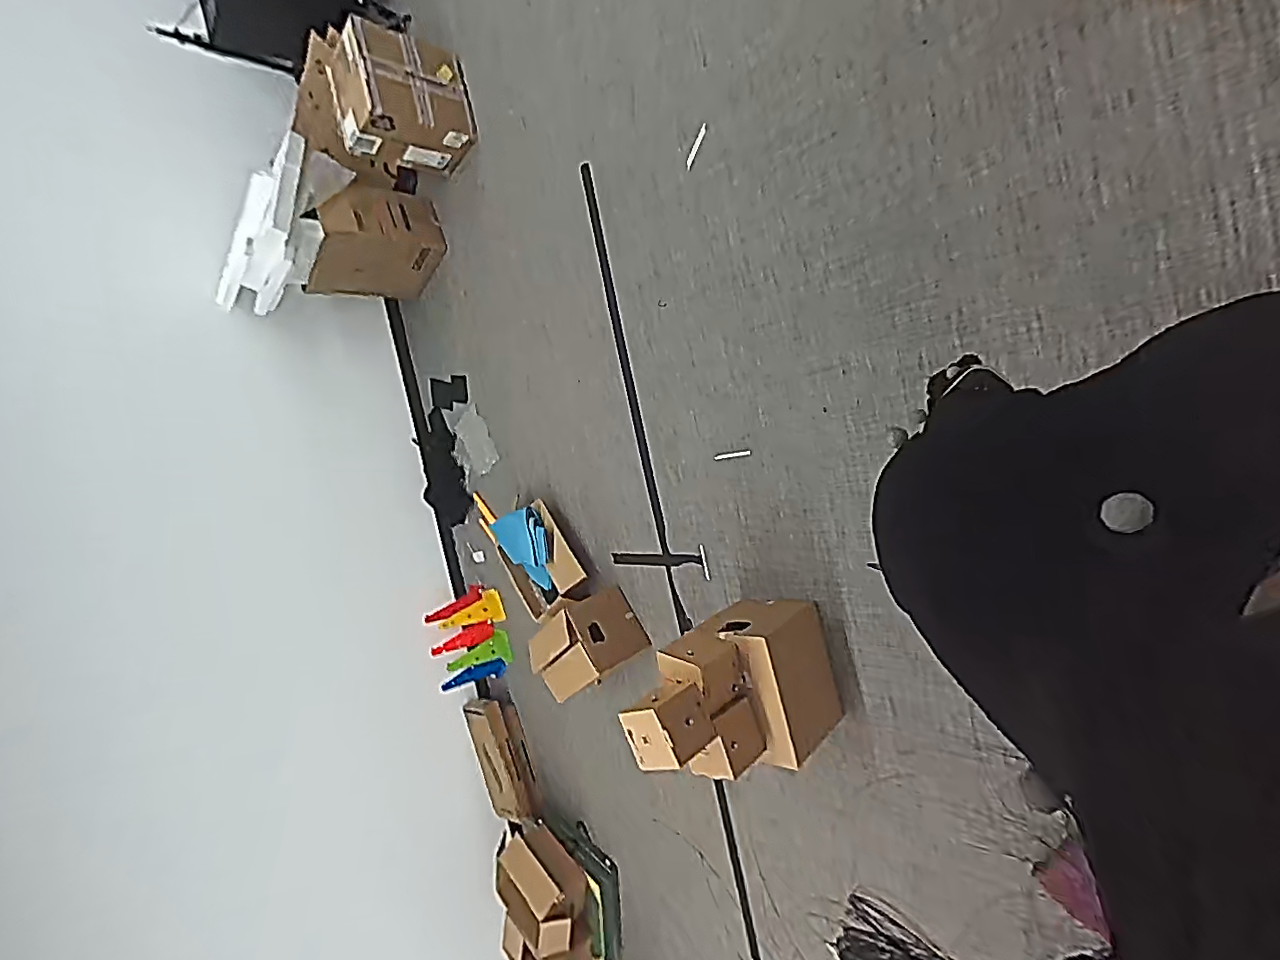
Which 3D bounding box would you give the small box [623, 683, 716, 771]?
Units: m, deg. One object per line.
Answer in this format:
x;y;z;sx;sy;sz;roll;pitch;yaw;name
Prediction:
0.090;0.690;1.517;0.179;0.176;0.168;-33;77;44;small box

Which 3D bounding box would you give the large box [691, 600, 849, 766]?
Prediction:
0.424;0.631;1.752;0.320;0.320;0.408;-16;89;46;large box
